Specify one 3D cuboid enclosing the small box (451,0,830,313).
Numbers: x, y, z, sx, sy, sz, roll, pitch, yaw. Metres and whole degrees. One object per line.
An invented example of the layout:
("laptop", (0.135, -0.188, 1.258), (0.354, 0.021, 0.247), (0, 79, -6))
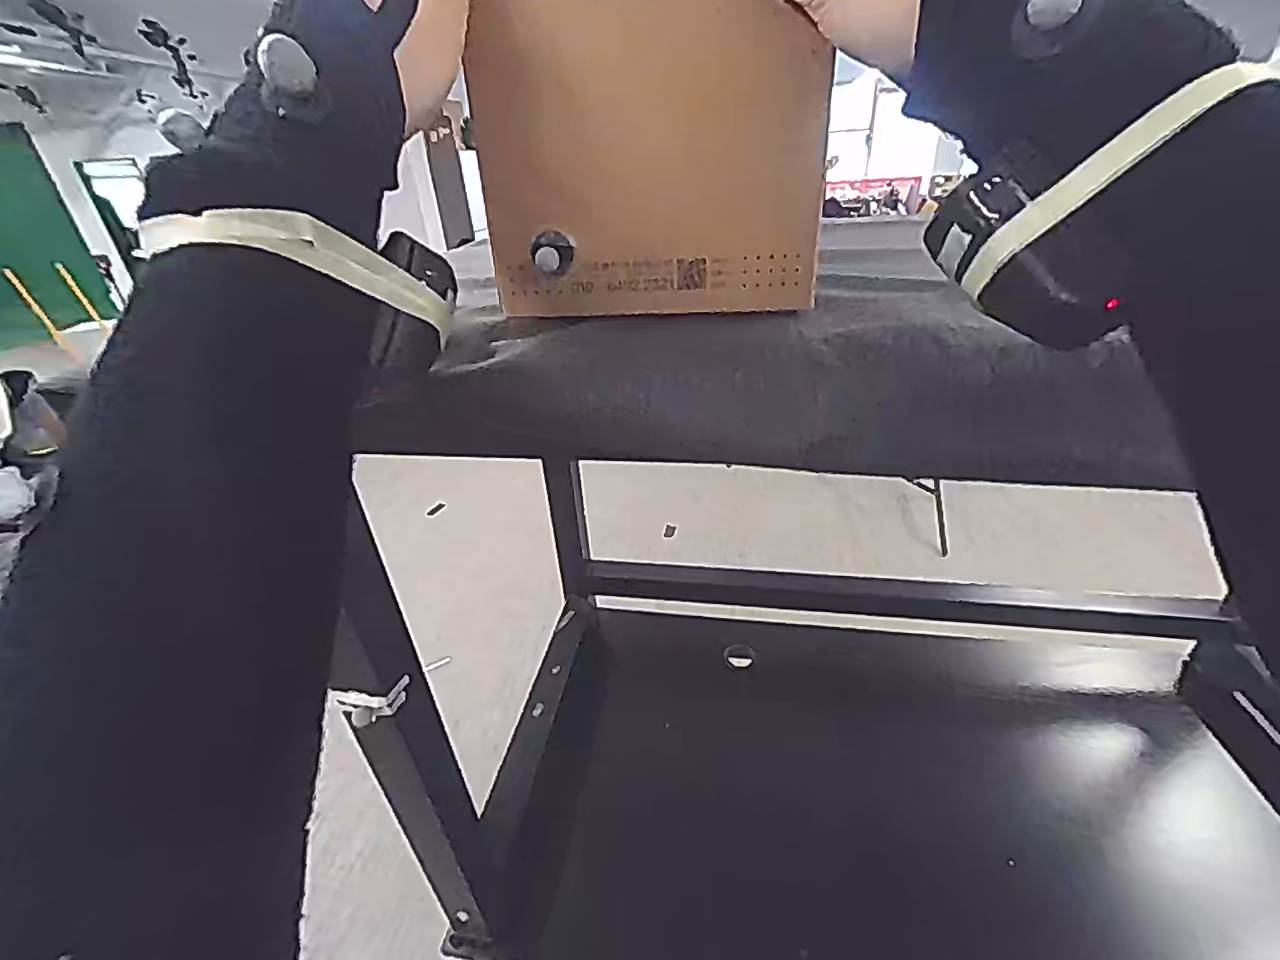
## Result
("small box", (0.012, -0.197, 0.322), (0.168, 0.176, 0.179), (1, 27, 7))
